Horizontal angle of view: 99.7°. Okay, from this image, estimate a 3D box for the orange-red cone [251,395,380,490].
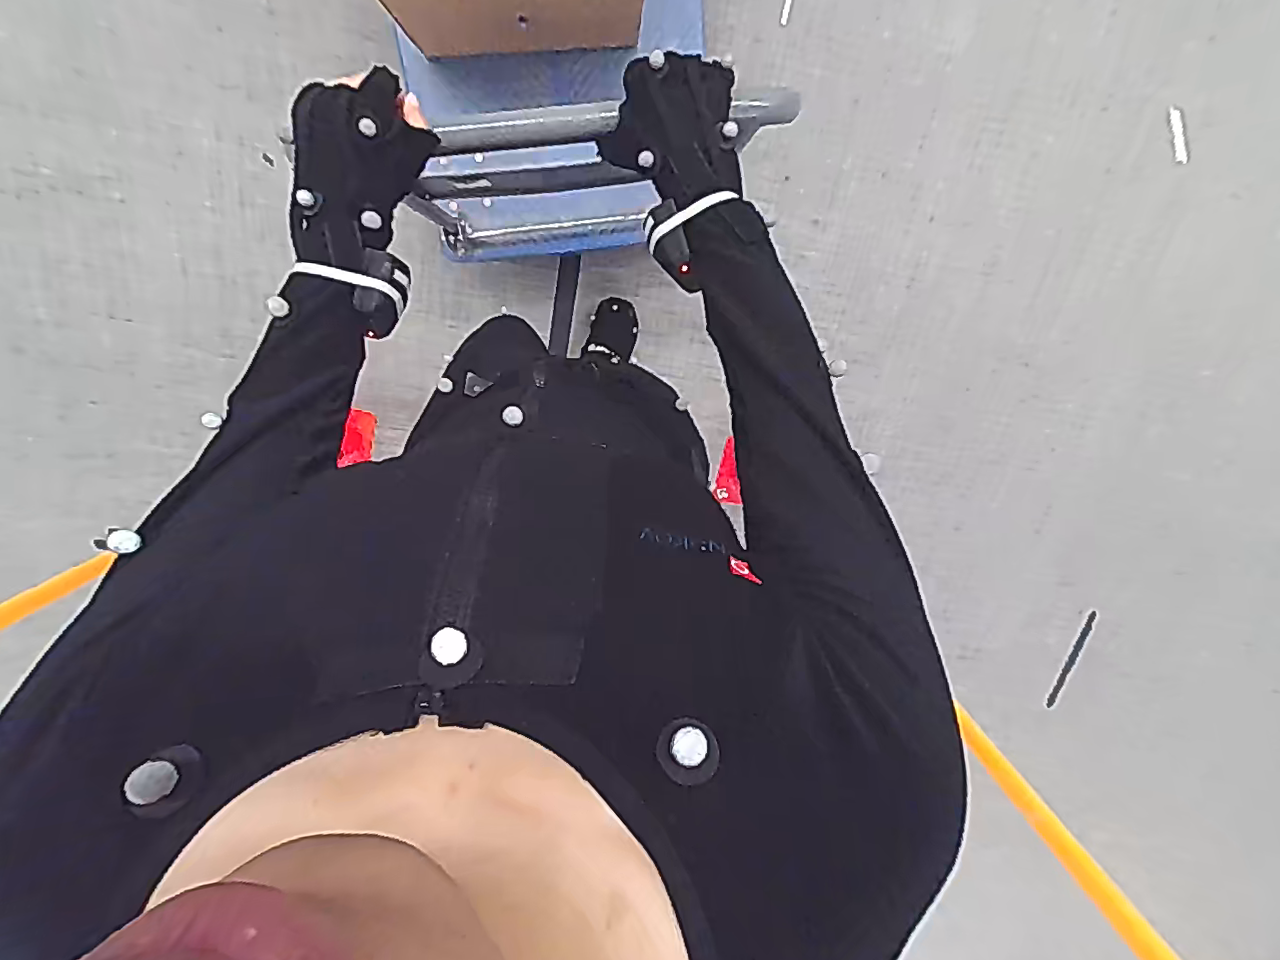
[{"bbox_3d":[-0.784,-0.054,1.259,0.198,0.360,0.199,15,106,-10],"label":"orange-red cone"}]

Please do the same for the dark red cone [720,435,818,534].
[{"bbox_3d":[0.344,0.035,1.339,0.201,0.394,0.202,8,109,-8],"label":"dark red cone"}]

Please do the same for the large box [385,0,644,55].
[{"bbox_3d":[-0.205,-0.909,0.835,0.408,0.320,0.320,-5,110,-1],"label":"large box"}]
